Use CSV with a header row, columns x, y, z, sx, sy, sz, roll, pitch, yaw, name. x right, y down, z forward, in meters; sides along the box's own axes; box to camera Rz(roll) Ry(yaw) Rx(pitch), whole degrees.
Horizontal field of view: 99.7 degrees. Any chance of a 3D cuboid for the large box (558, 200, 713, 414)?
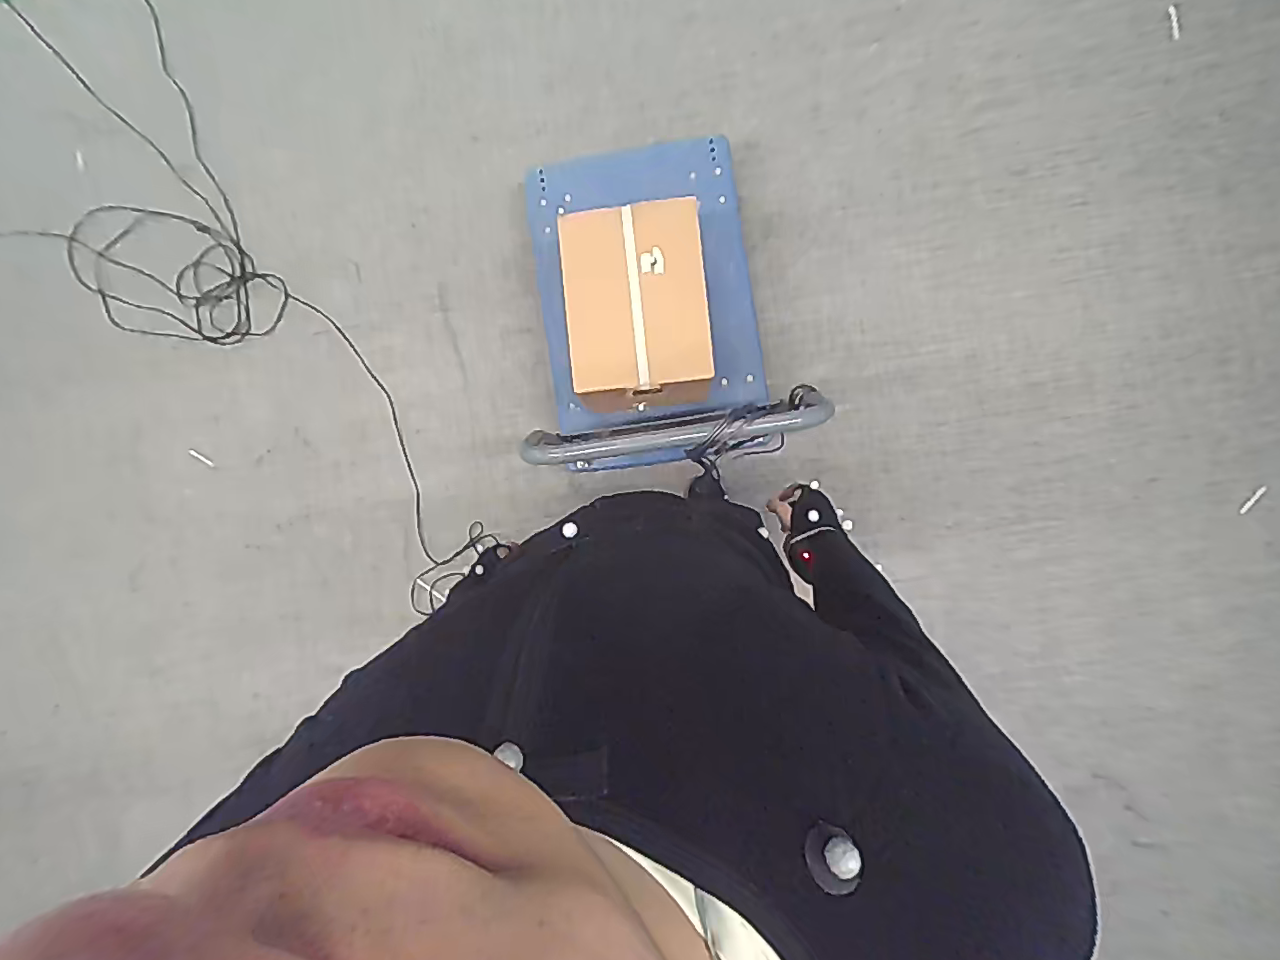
x,y,z,sx,sy,sz,roll,pitch,yaw,name
-0.002,-0.398,1.339,0.320,0.320,0.408,-6,87,3,large box
